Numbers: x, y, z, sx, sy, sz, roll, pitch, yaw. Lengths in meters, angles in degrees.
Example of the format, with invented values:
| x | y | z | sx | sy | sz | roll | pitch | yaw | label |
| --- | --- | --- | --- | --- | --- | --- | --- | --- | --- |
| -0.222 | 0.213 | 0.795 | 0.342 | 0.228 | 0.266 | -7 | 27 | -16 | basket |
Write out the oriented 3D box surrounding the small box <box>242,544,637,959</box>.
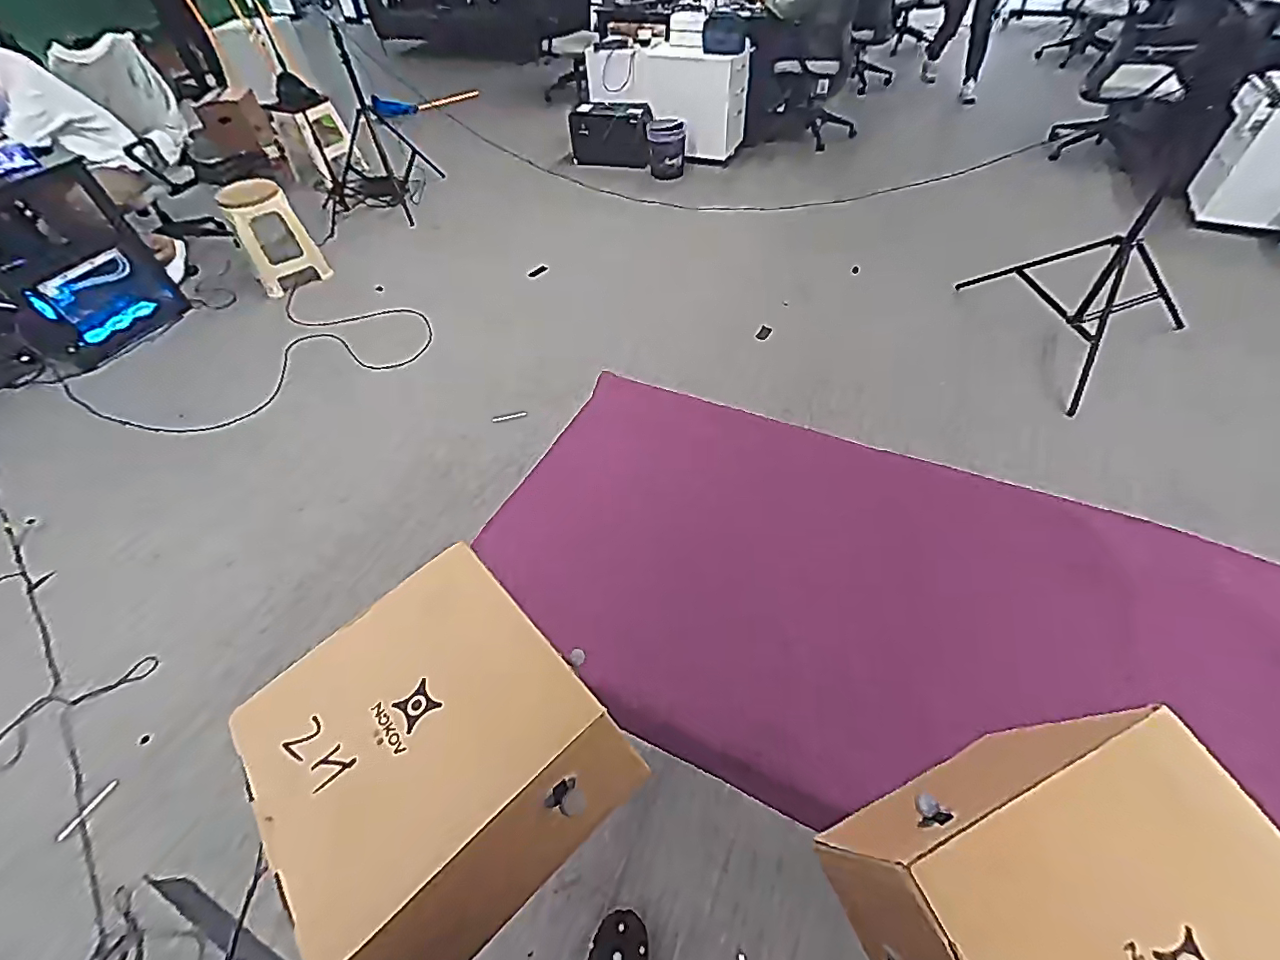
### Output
| x | y | z | sx | sy | sz | roll | pitch | yaw | label |
| --- | --- | --- | --- | --- | --- | --- | --- | --- | --- |
| -0.117 | 0.186 | 0.379 | 0.179 | 0.176 | 0.168 | -40 | 55 | -18 | small box |

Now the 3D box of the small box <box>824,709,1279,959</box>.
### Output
| x | y | z | sx | sy | sz | roll | pitch | yaw | label |
| --- | --- | --- | --- | --- | --- | --- | --- | --- | --- |
| 0.239 | 0.256 | 0.312 | 0.179 | 0.176 | 0.168 | -23 | 62 | -11 | small box |
